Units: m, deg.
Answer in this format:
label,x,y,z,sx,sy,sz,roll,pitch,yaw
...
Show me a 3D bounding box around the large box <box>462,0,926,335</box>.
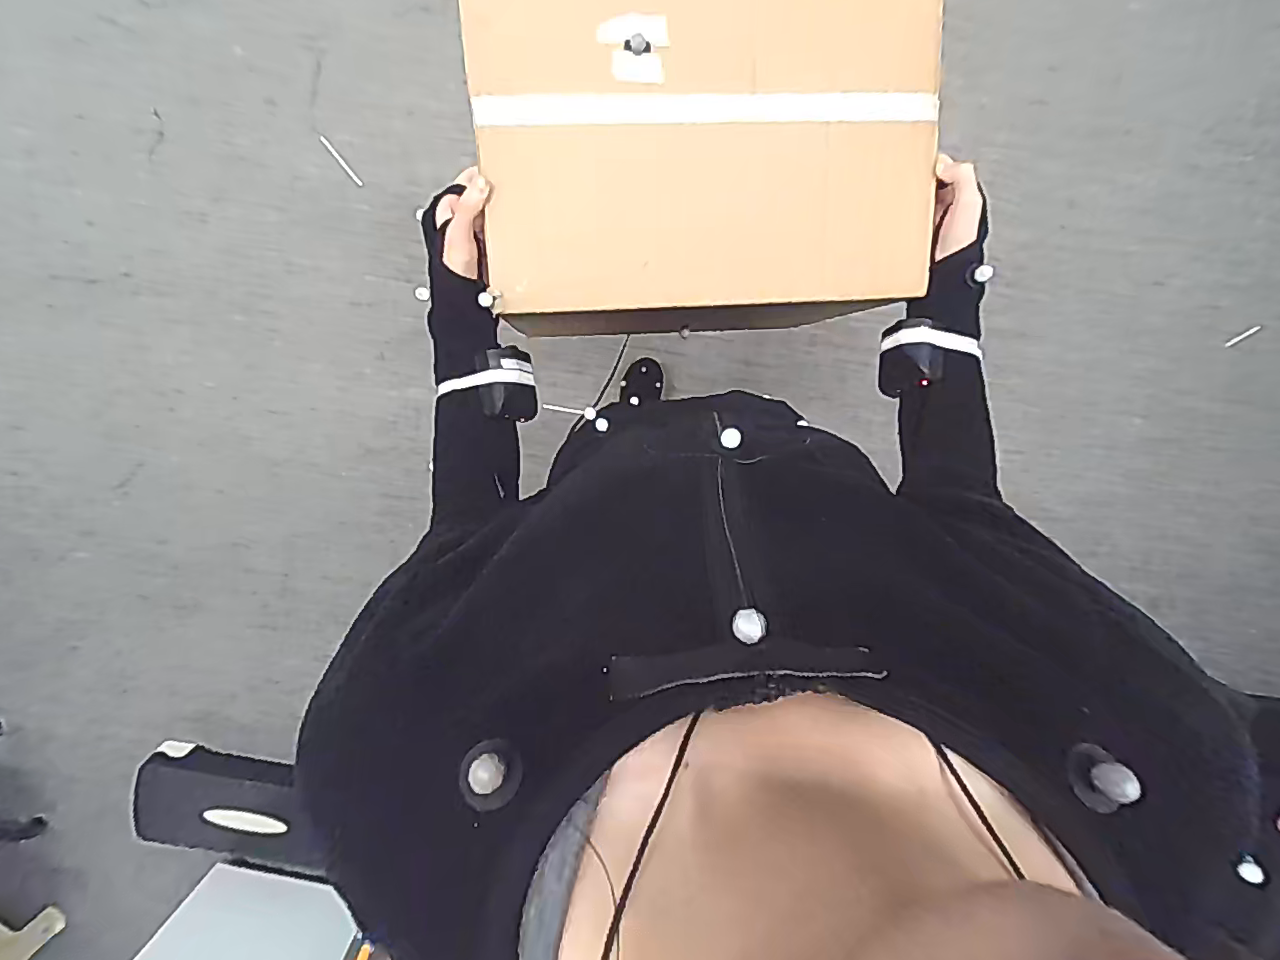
label,x,y,z,sx,sy,sz,roll,pitch,yaw
large box,0.045,-0.343,0.620,0.408,0.320,0.320,-4,101,-5
